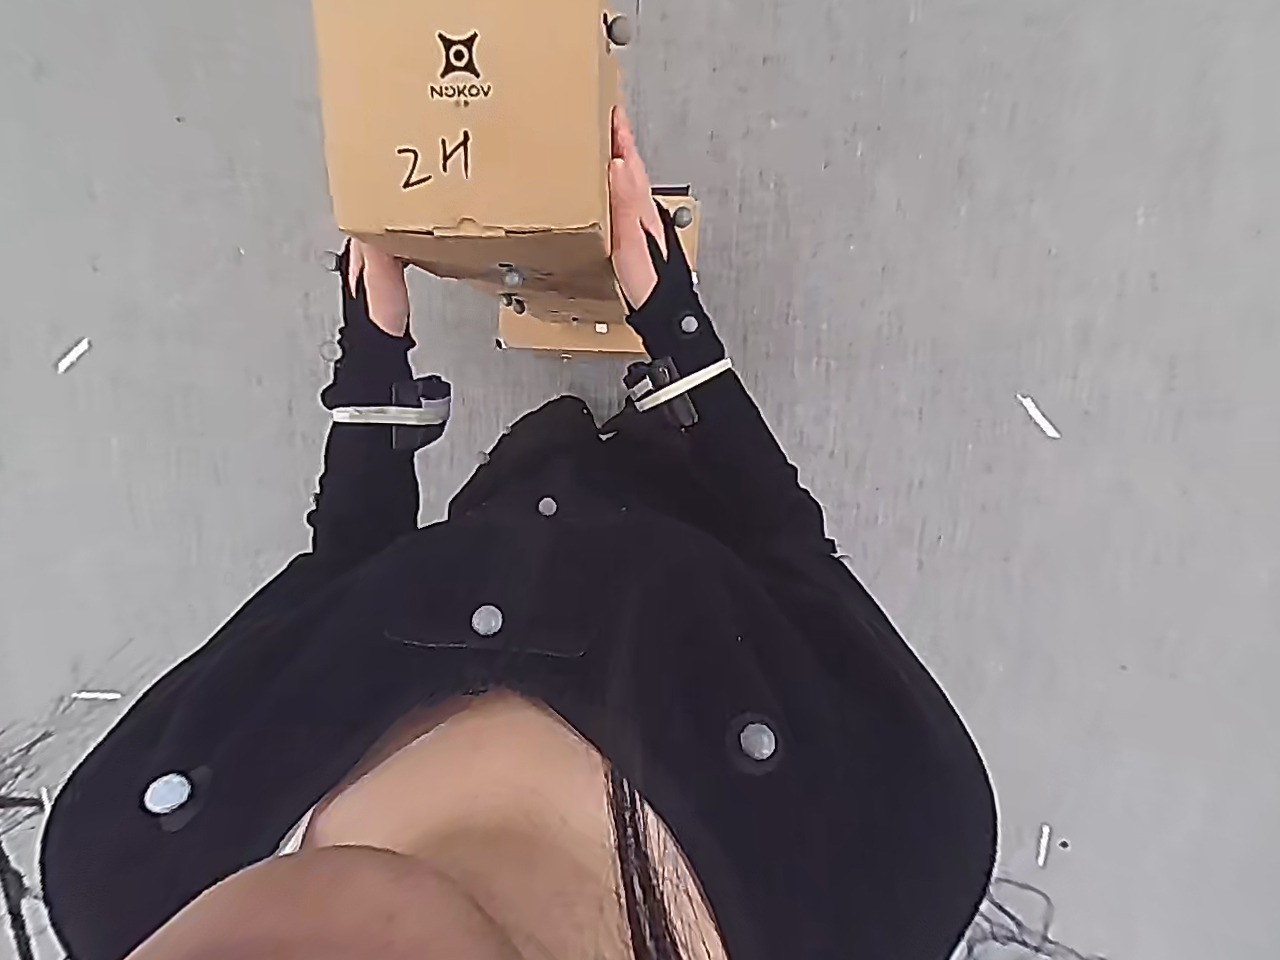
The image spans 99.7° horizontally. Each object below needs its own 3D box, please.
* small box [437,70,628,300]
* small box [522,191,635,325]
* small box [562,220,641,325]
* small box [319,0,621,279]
[{"bbox_3d":[-0.100,-0.287,0.556,0.168,0.176,0.179,3,100,0],"label":"small box"},{"bbox_3d":[-0.095,-0.352,0.878,0.168,0.176,0.179,1,102,1],"label":"small box"},{"bbox_3d":[-0.088,-0.389,1.036,0.179,0.176,0.168,0,101,0],"label":"small box"},{"bbox_3d":[-0.102,-0.254,0.394,0.168,0.176,0.179,0,102,1],"label":"small box"}]
